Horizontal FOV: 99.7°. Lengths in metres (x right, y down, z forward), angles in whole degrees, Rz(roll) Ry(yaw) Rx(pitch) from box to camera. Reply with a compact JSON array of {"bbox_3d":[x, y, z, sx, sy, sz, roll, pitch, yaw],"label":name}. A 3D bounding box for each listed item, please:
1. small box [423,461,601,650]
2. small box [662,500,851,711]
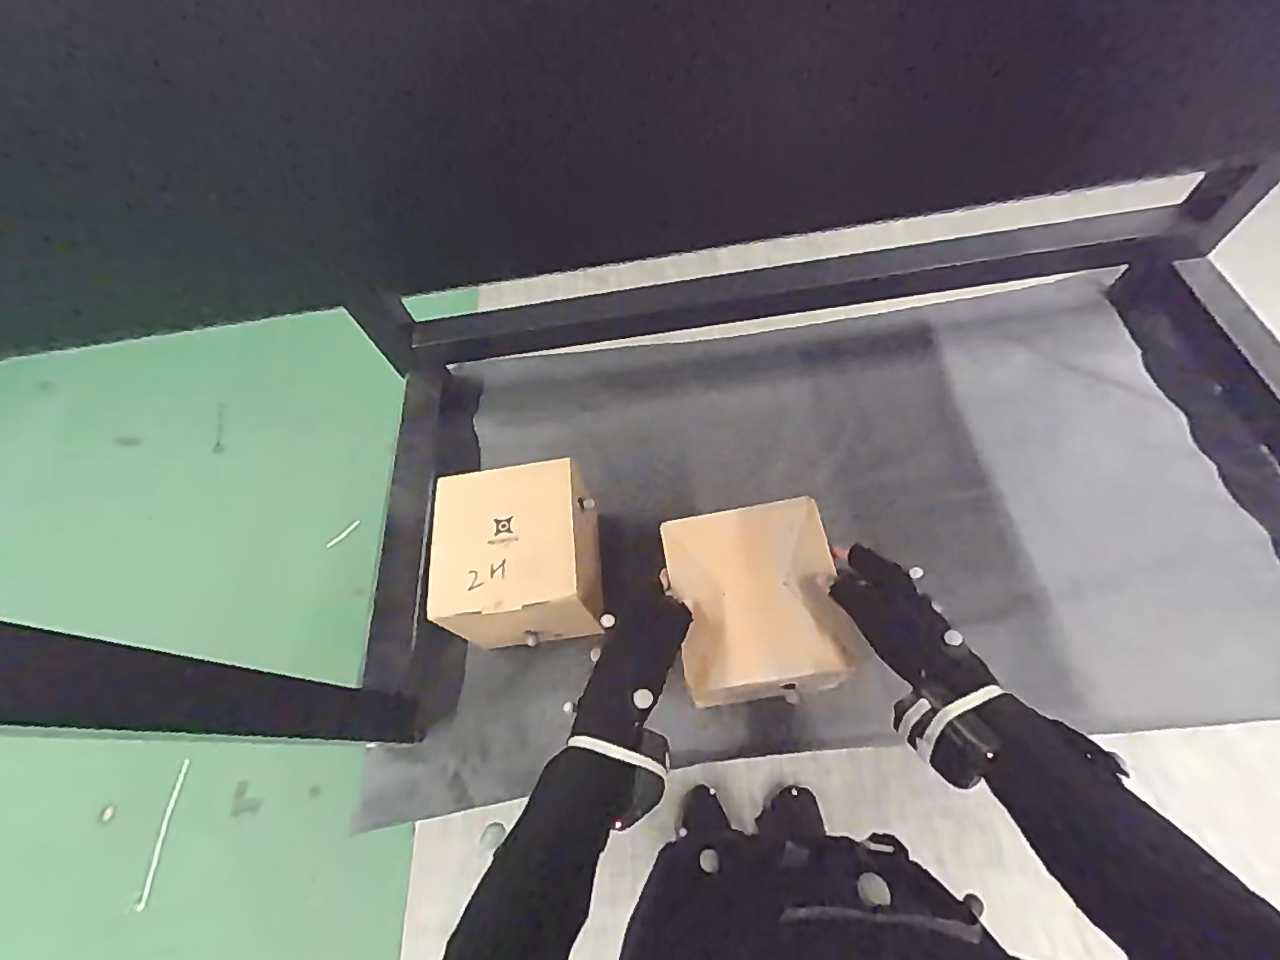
[{"bbox_3d":[-0.147,0.100,0.677,0.168,0.176,0.179,-9,60,4],"label":"small box"},{"bbox_3d":[0.122,0.146,0.604,0.168,0.176,0.179,-10,61,4],"label":"small box"}]
